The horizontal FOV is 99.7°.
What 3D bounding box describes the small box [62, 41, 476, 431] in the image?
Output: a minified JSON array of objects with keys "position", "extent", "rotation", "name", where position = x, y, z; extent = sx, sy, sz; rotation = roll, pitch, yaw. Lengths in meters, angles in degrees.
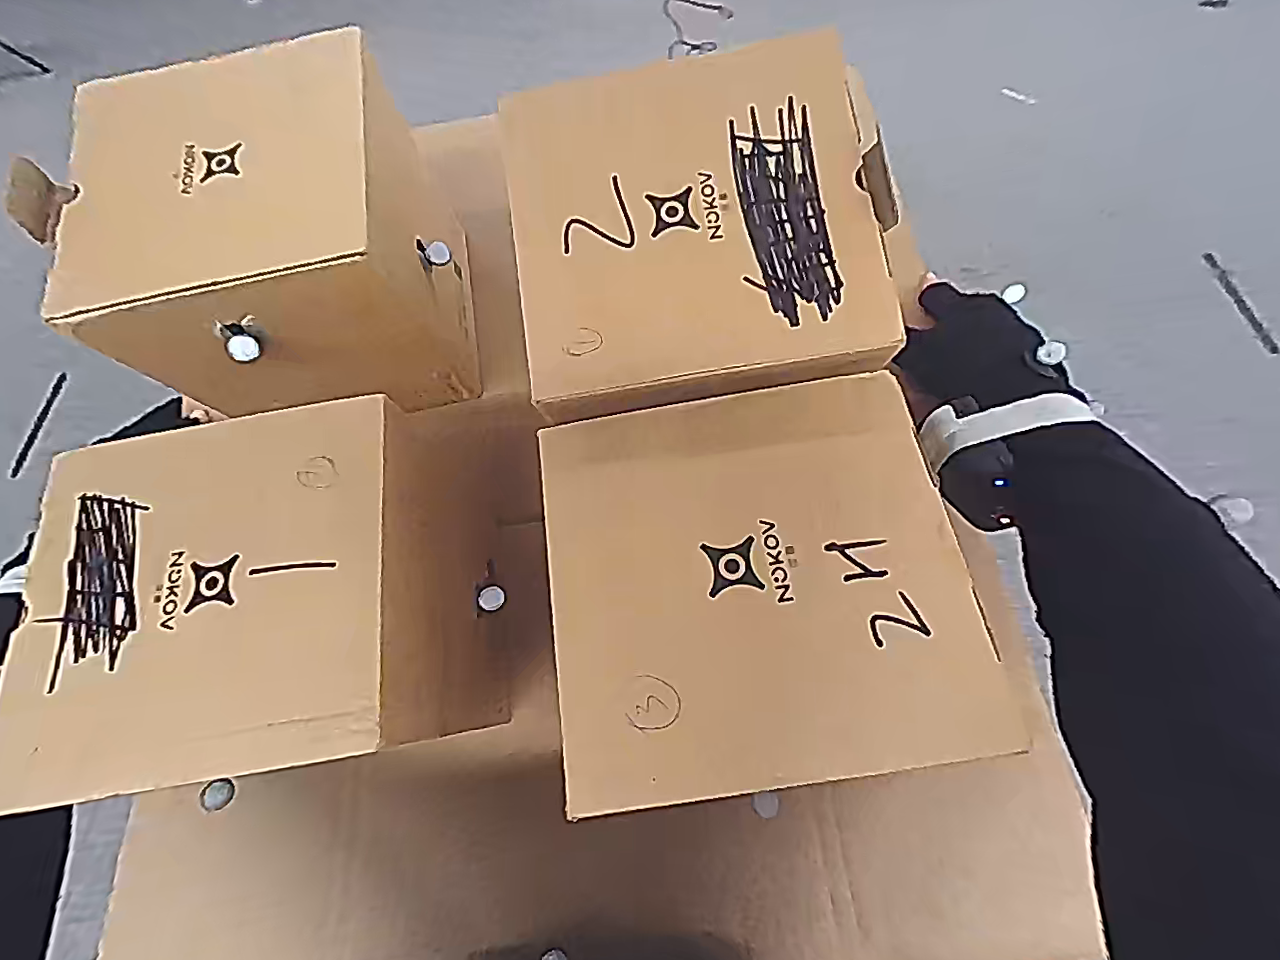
[{"position":[-0.227,-0.151,0.383],"extent":[0.179,0.176,0.168],"rotation":[-11,72,2],"name":"small box"}]
